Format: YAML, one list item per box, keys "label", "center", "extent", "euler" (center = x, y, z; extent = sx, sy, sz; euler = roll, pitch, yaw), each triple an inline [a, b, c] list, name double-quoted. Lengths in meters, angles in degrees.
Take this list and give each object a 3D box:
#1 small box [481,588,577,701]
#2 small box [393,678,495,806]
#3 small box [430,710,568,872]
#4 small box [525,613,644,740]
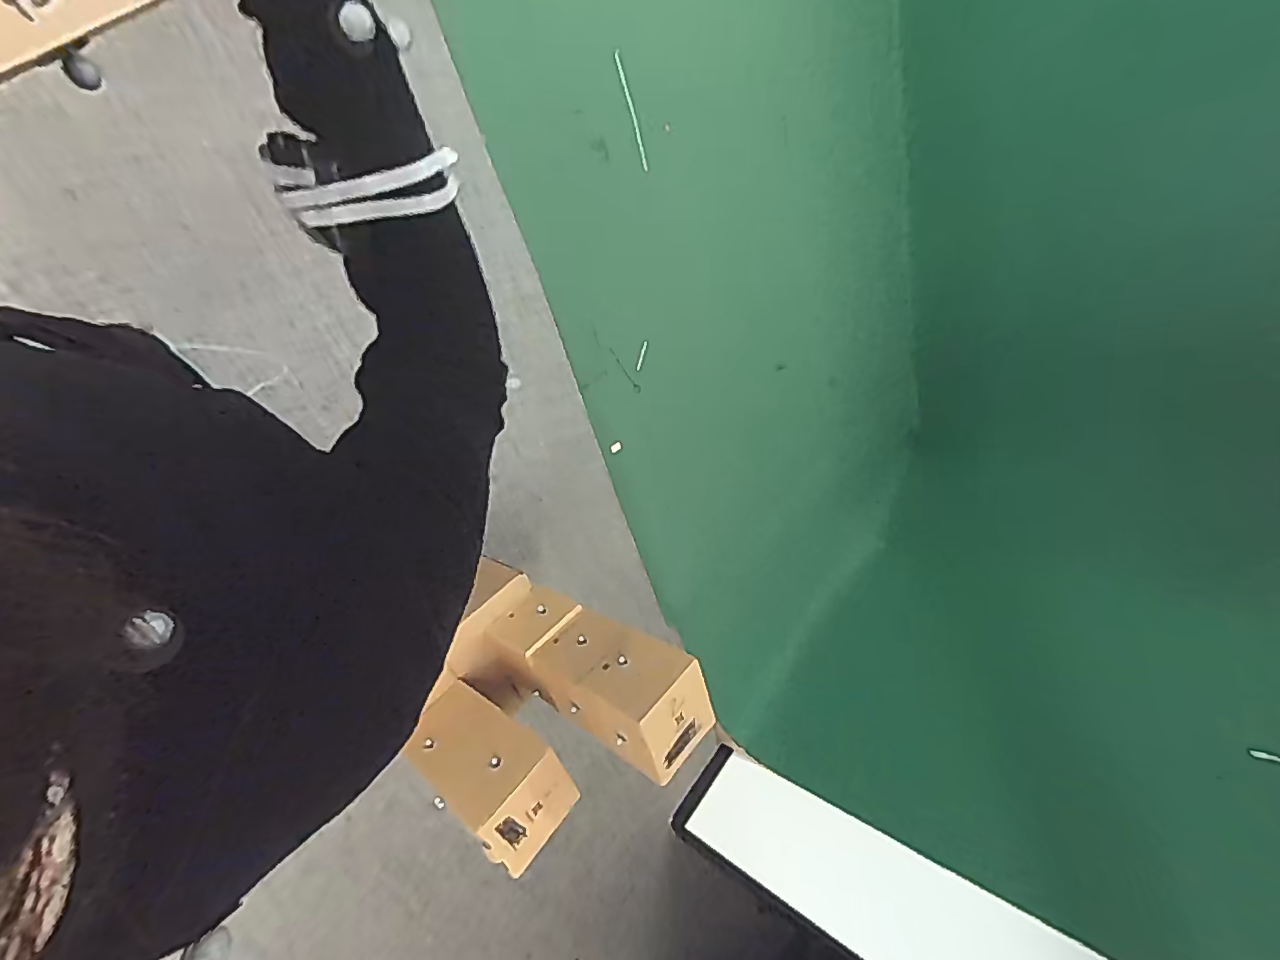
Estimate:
- label: "small box"
  center: [-0.244, 0.375, 1.274]
  extent: [0.168, 0.176, 0.179]
  euler: [-39, 124, -34]
- label: "small box"
  center: [-0.395, 0.563, 1.152]
  extent: [0.179, 0.176, 0.168]
  euler: [-43, 127, -35]
- label: "small box"
  center: [-0.276, 0.587, 1.041]
  extent: [0.179, 0.176, 0.168]
  euler: [-41, 126, -36]
- label: "small box"
  center: [-0.122, 0.411, 1.169]
  extent: [0.168, 0.176, 0.179]
  euler: [-36, 123, -35]
